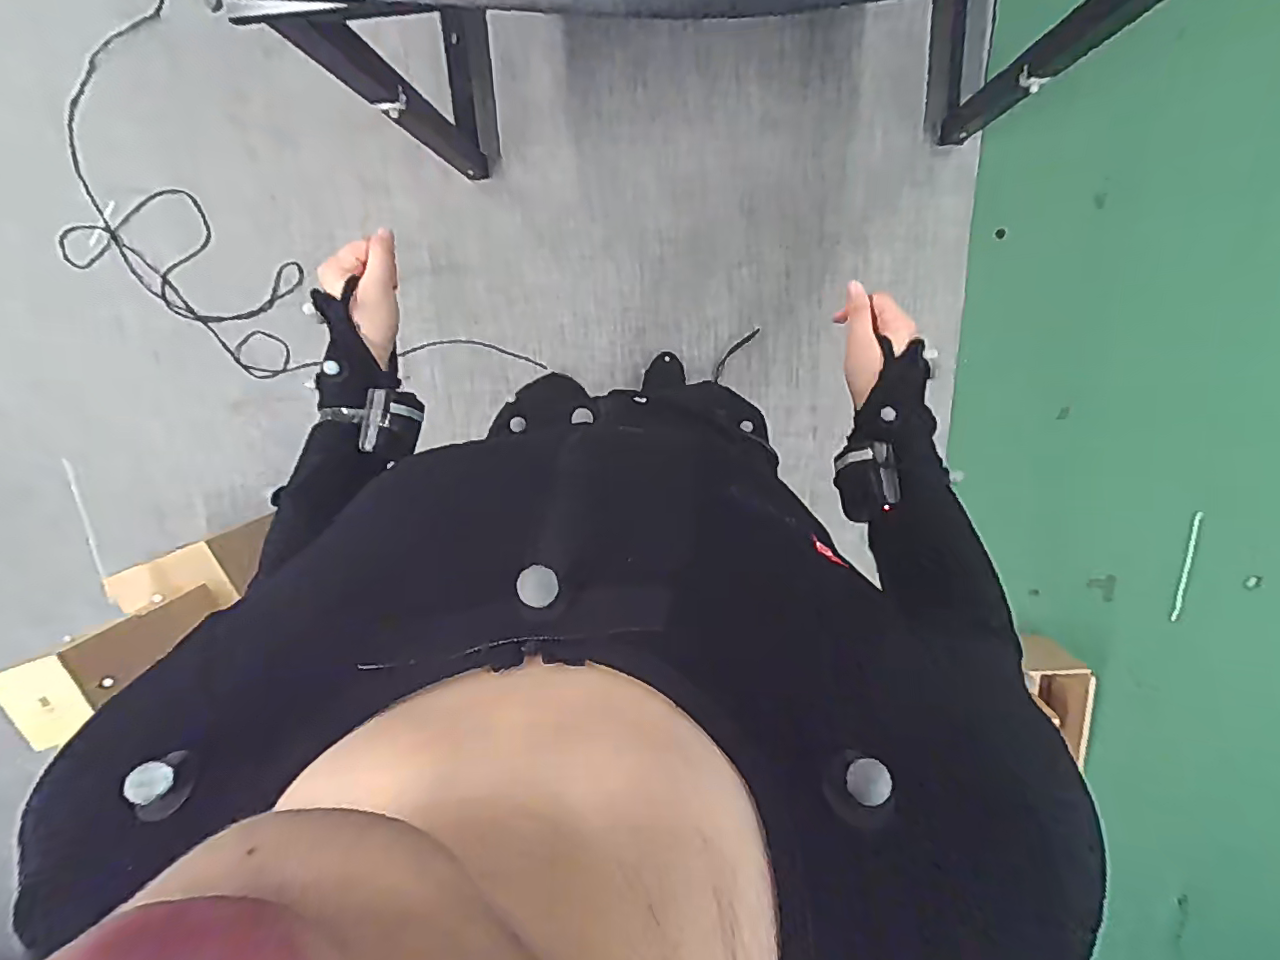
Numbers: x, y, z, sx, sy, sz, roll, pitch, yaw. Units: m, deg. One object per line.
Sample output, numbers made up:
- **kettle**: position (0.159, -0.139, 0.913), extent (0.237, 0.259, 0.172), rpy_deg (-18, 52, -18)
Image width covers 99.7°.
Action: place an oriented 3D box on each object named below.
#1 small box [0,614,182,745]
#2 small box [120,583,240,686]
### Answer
- **small box**: position (-1.116, 0.398, 1.113), extent (0.168, 0.176, 0.179), rpy_deg (-19, 103, 7)
- **small box**: position (-1.103, 0.370, 1.273), extent (0.168, 0.176, 0.179), rpy_deg (-19, 102, 7)
